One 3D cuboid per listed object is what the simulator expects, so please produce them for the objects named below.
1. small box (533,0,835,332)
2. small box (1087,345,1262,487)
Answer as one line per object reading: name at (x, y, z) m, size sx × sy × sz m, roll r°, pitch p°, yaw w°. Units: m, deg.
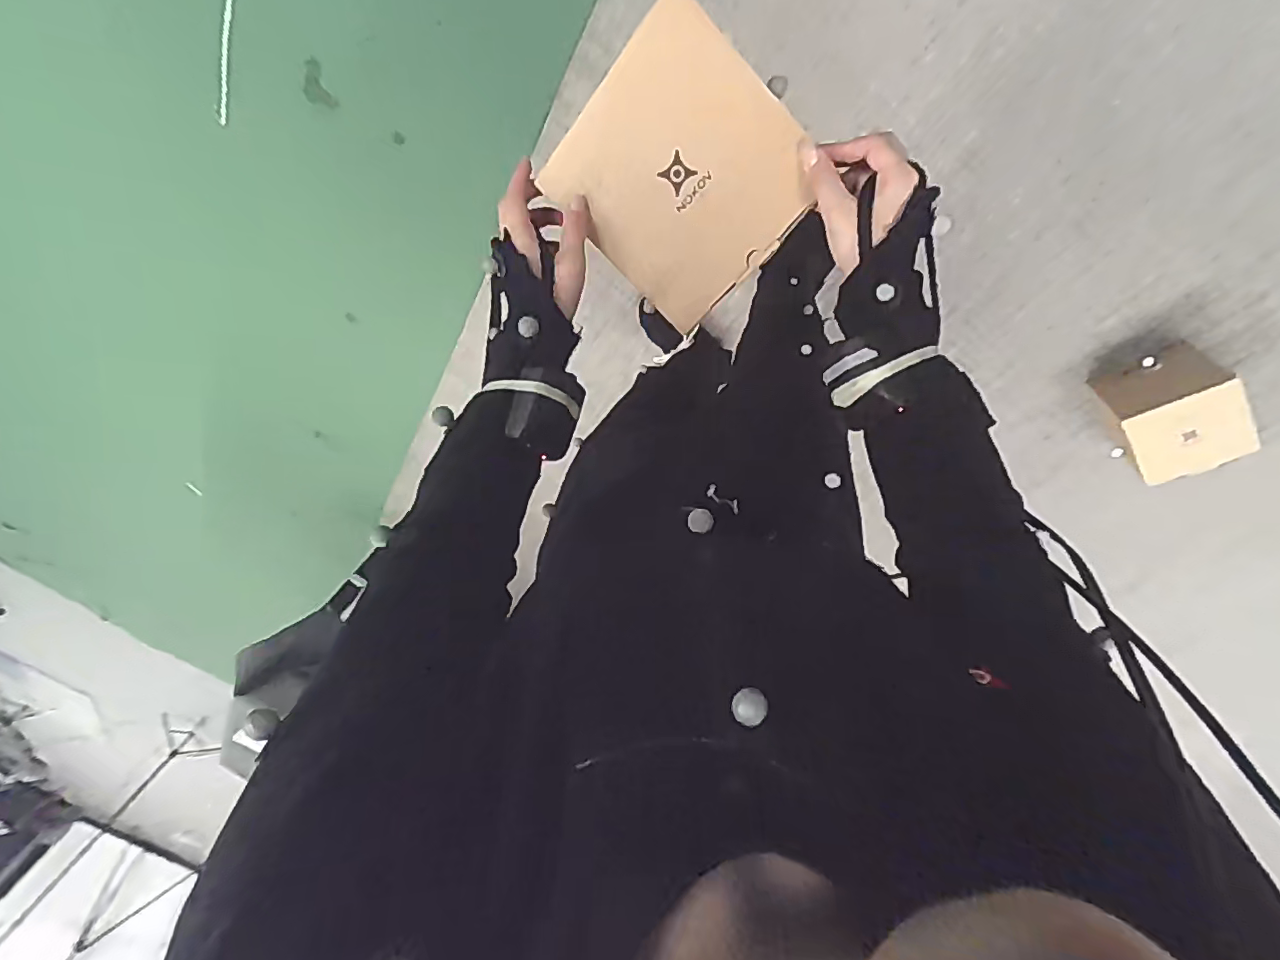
small box at (0.041, -0.264, 0.485) m, size 0.179 × 0.176 × 0.168 m, roll 41°, pitch 116°, yaw -12°
small box at (1.005, -0.124, 1.030) m, size 0.168 × 0.176 × 0.179 m, roll -29°, pitch 112°, yaw 31°
